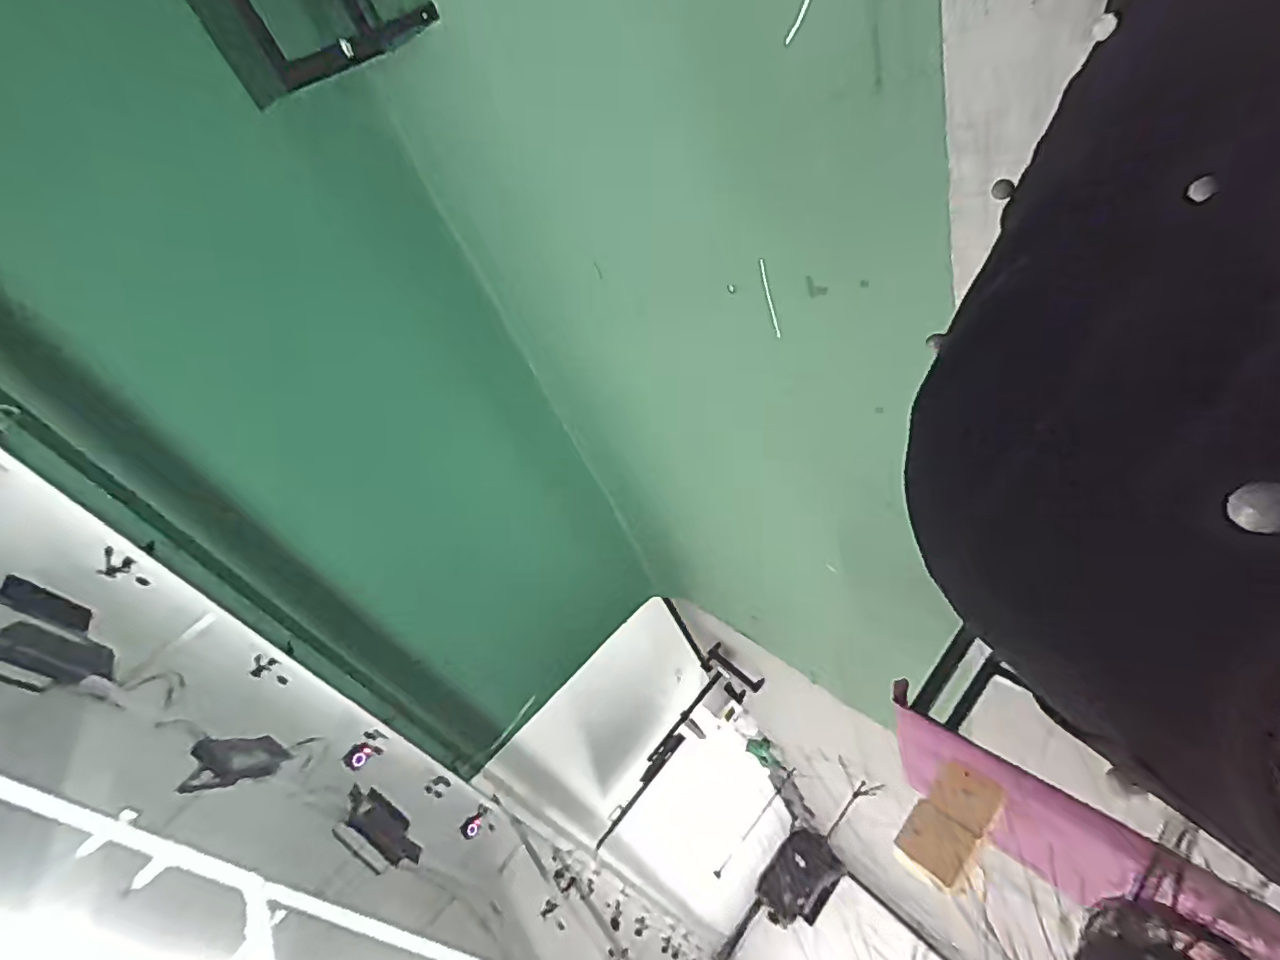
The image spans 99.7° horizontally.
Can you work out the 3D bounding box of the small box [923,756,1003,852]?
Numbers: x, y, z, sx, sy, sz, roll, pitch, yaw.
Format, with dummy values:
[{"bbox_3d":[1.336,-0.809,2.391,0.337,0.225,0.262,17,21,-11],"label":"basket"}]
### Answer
[{"bbox_3d":[1.006,1.004,1.687,0.168,0.176,0.179,25,151,45],"label":"small box"}]
